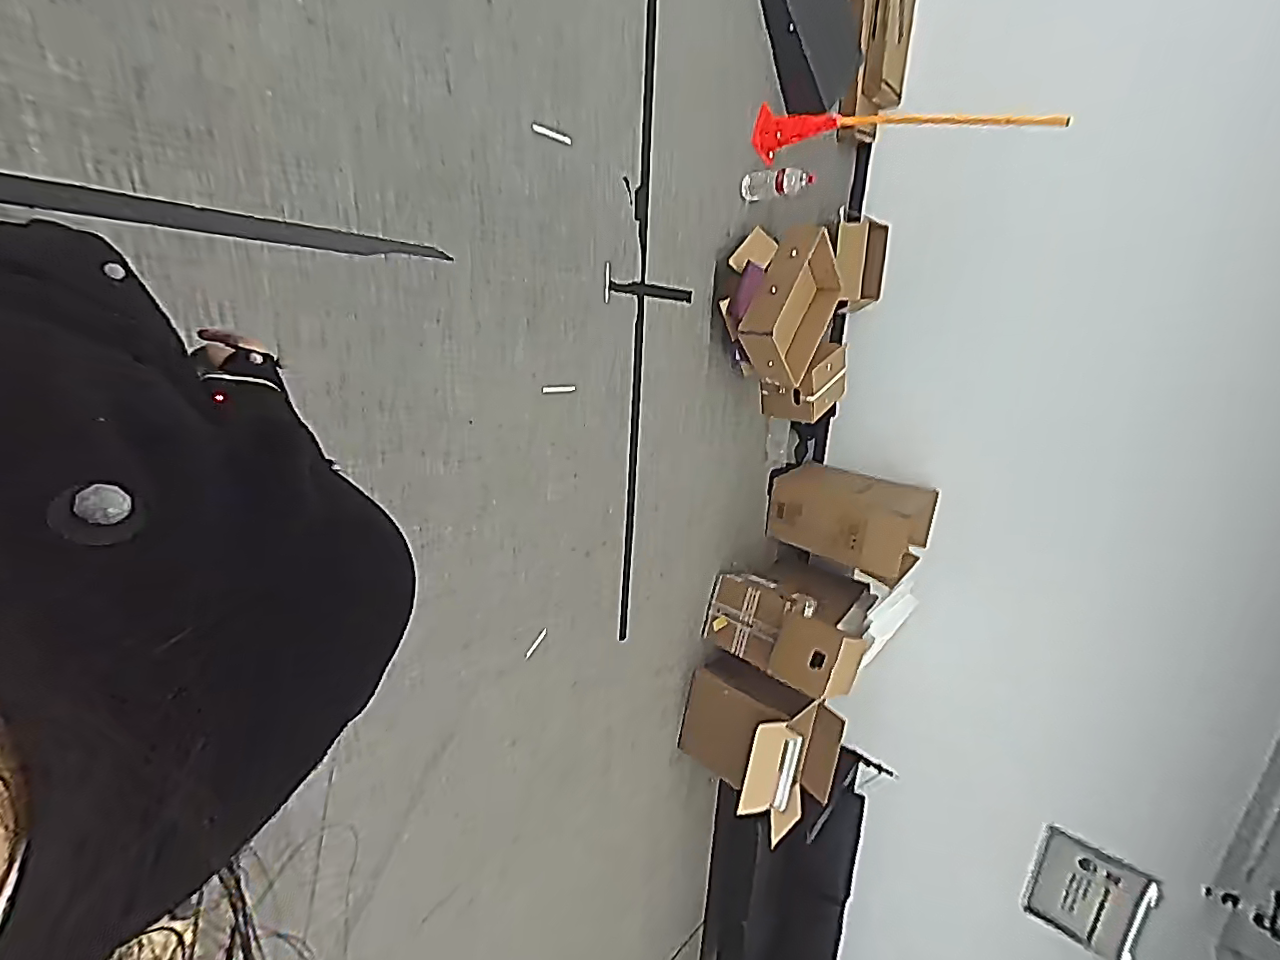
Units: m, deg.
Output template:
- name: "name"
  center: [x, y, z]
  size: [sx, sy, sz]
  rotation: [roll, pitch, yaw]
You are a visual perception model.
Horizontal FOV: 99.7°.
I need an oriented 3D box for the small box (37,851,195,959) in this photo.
- name: "small box"
  center: [-1.037, 0.895, 1.074]
  size: [0.168, 0.176, 0.179]
  rotation: [-32, 126, -42]
